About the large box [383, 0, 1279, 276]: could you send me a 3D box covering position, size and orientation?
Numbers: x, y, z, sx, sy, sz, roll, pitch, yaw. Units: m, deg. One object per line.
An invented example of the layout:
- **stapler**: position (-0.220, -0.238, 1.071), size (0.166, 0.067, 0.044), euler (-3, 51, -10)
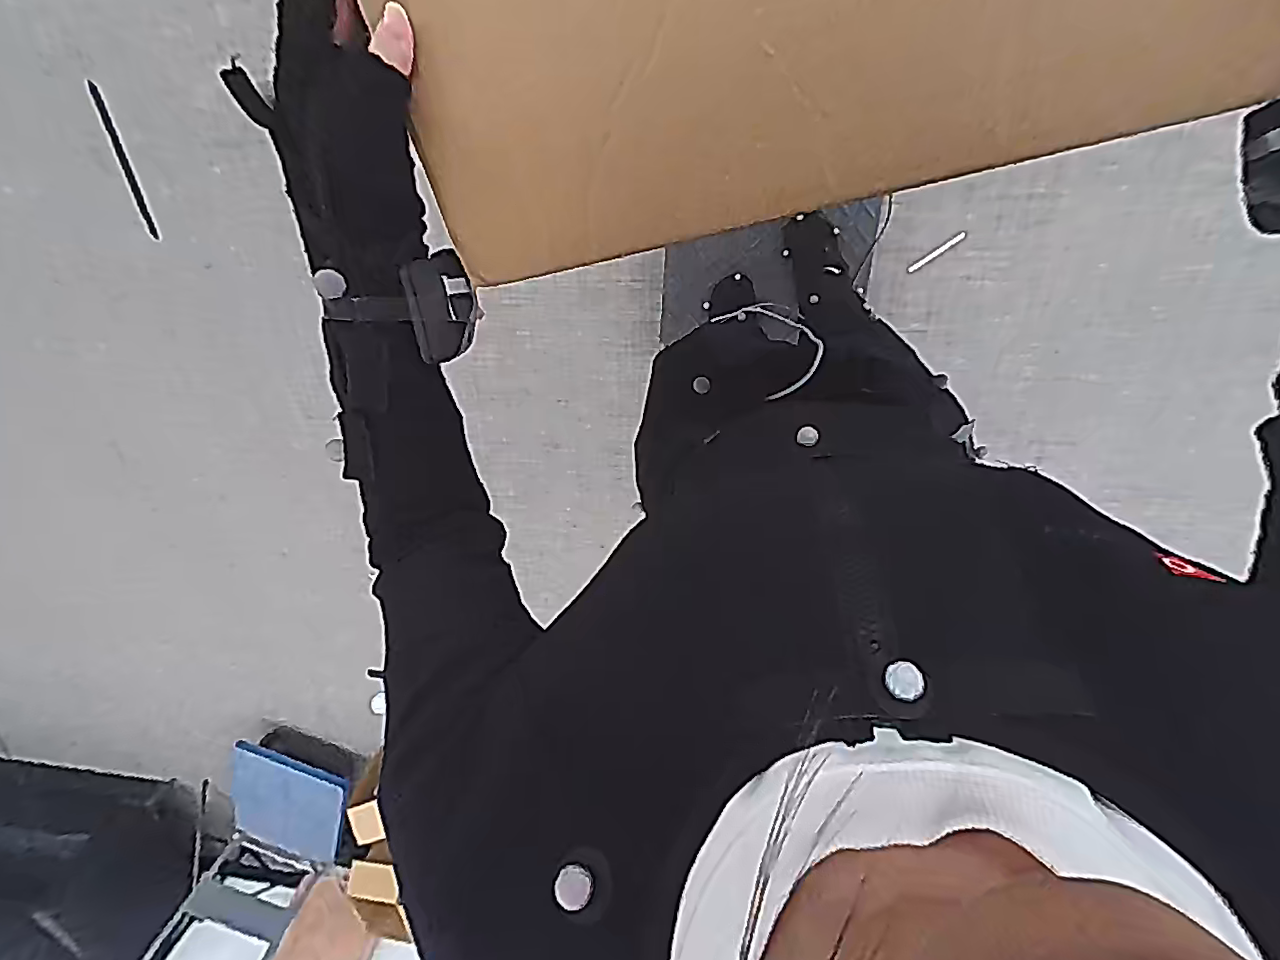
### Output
- **large box**: position (0.075, -0.360, 0.343), size (0.408, 0.320, 0.320), euler (-8, 121, 13)
